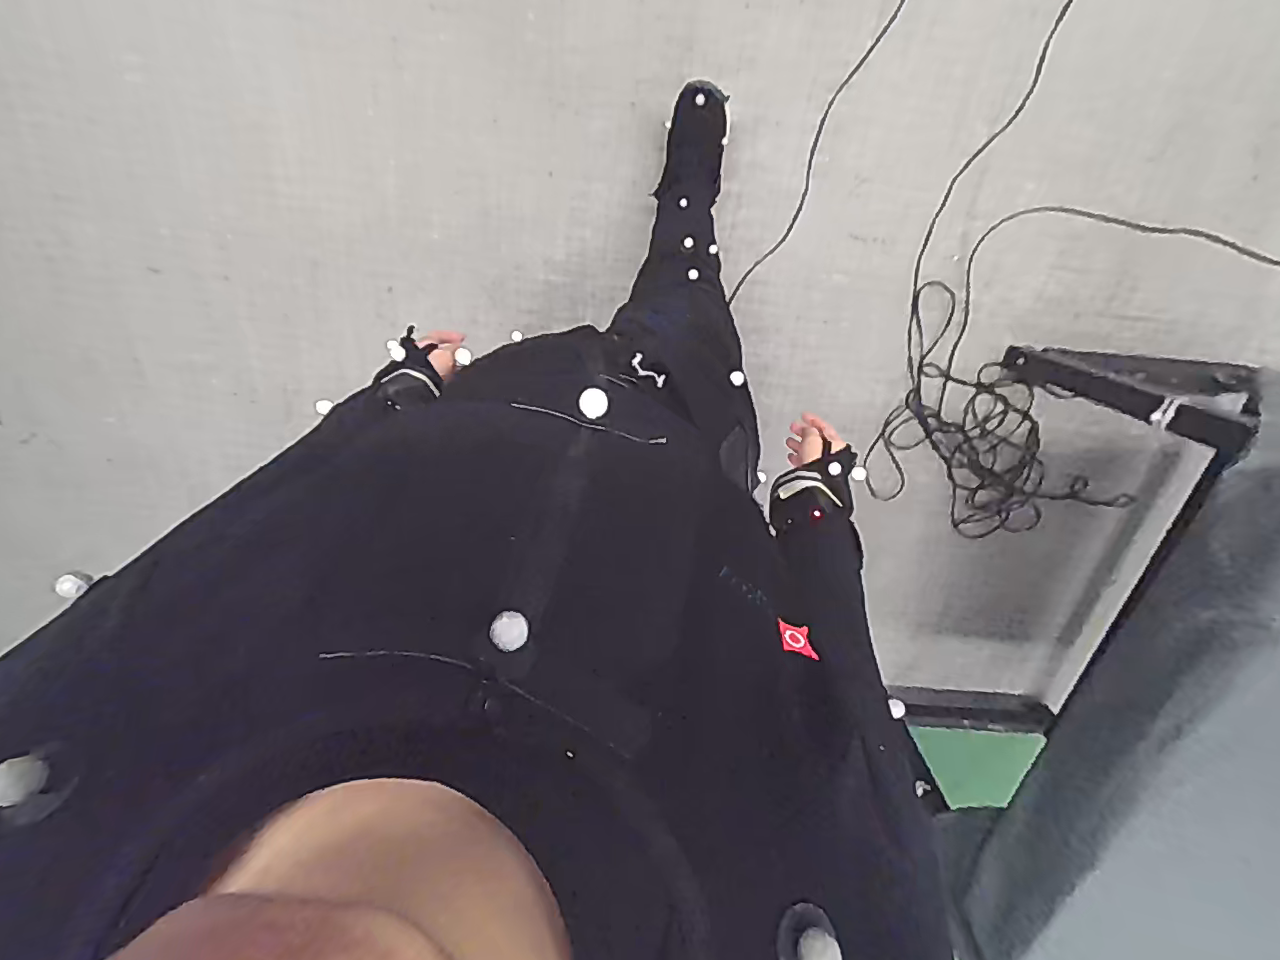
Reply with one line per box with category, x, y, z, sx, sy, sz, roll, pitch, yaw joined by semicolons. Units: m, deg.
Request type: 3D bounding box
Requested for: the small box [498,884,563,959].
small box;-0.322;1.348;1.613;0.168;0.176;0.179;4;115;-3
